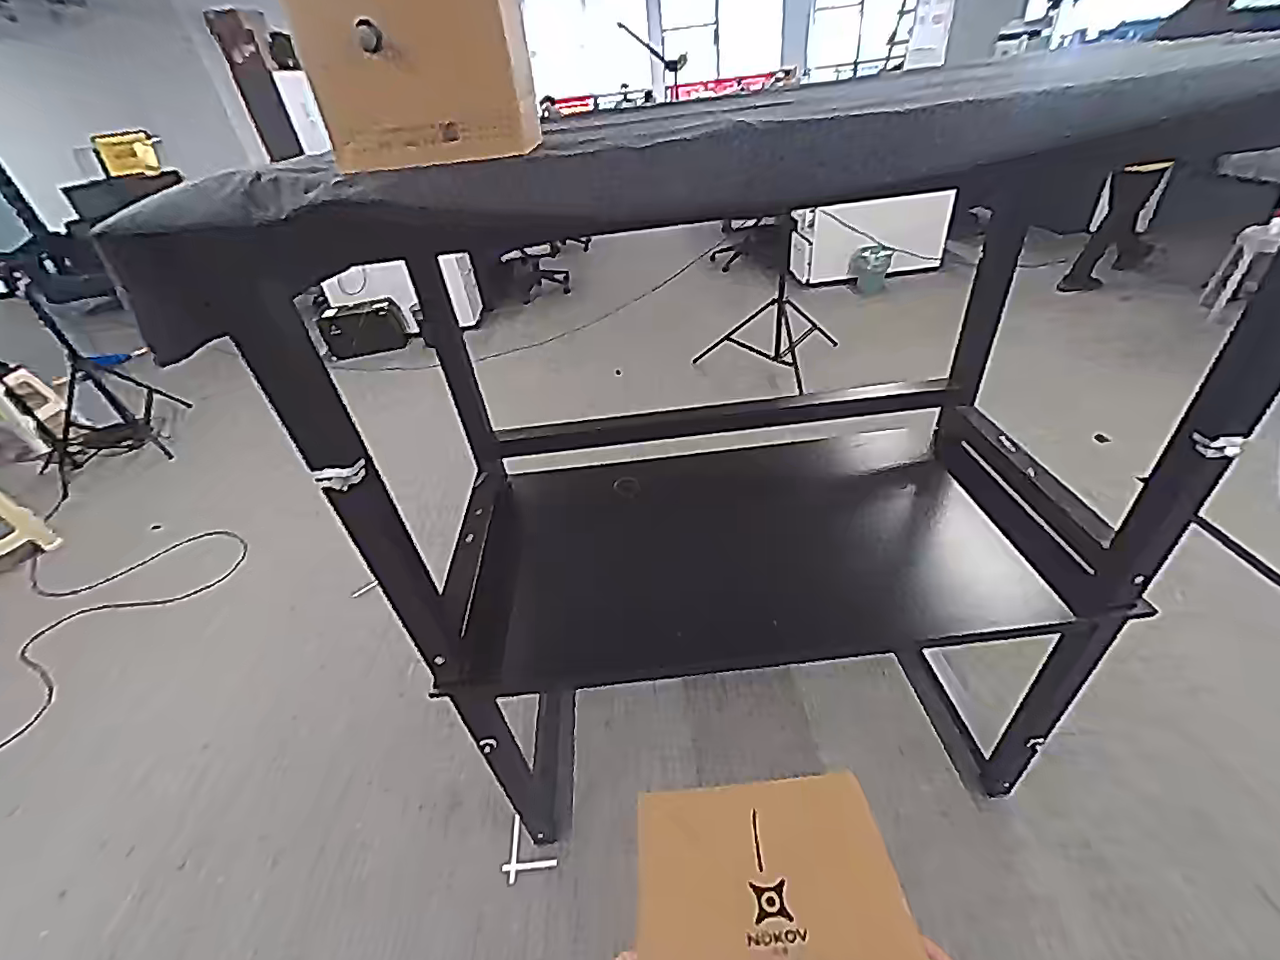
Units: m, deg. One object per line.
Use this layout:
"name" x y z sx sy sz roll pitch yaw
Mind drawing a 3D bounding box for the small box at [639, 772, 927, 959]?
"small box" 0.092 0.336 0.364 0.168 0.176 0.179 -7 26 3

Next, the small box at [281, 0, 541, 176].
"small box" -0.192 -0.386 0.497 0.168 0.176 0.179 -6 35 0
